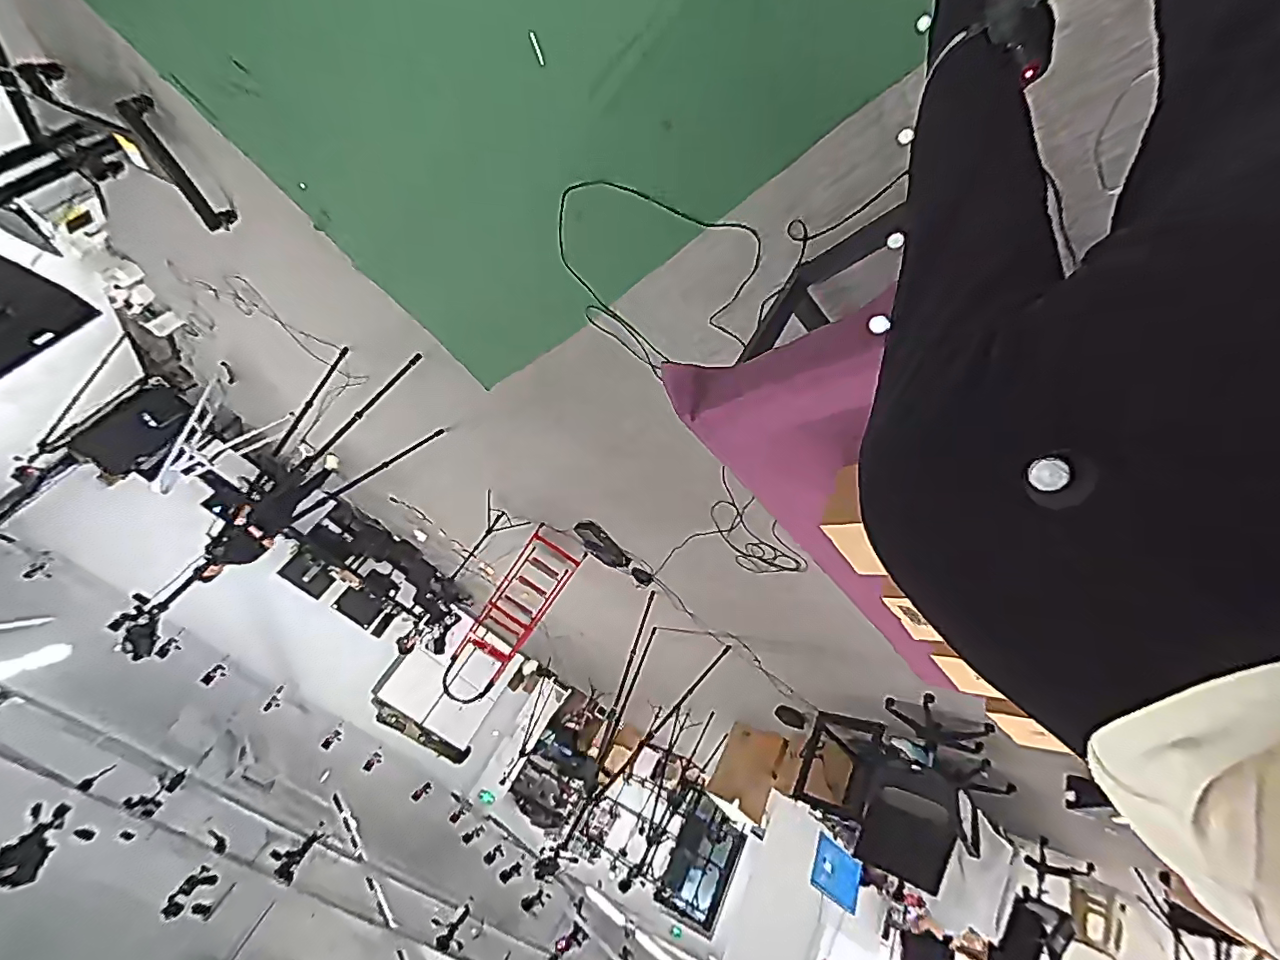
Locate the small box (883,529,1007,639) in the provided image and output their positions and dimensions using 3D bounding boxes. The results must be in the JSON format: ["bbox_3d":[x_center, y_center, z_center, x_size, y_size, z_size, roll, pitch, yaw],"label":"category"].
[{"bbox_3d":[0.672,0.224,1.185,0.168,0.176,0.179,46,147,-23],"label":"small box"}]

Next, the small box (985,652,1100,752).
[{"bbox_3d":[1.003,0.539,1.343,0.168,0.176,0.179,42,149,-17],"label":"small box"}]

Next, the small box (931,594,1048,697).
[{"bbox_3d":[0.824,0.379,1.272,0.168,0.176,0.179,45,149,-21],"label":"small box"}]

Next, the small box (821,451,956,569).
[{"bbox_3d":[0.508,0.063,1.098,0.168,0.176,0.179,45,149,-23],"label":"small box"}]
